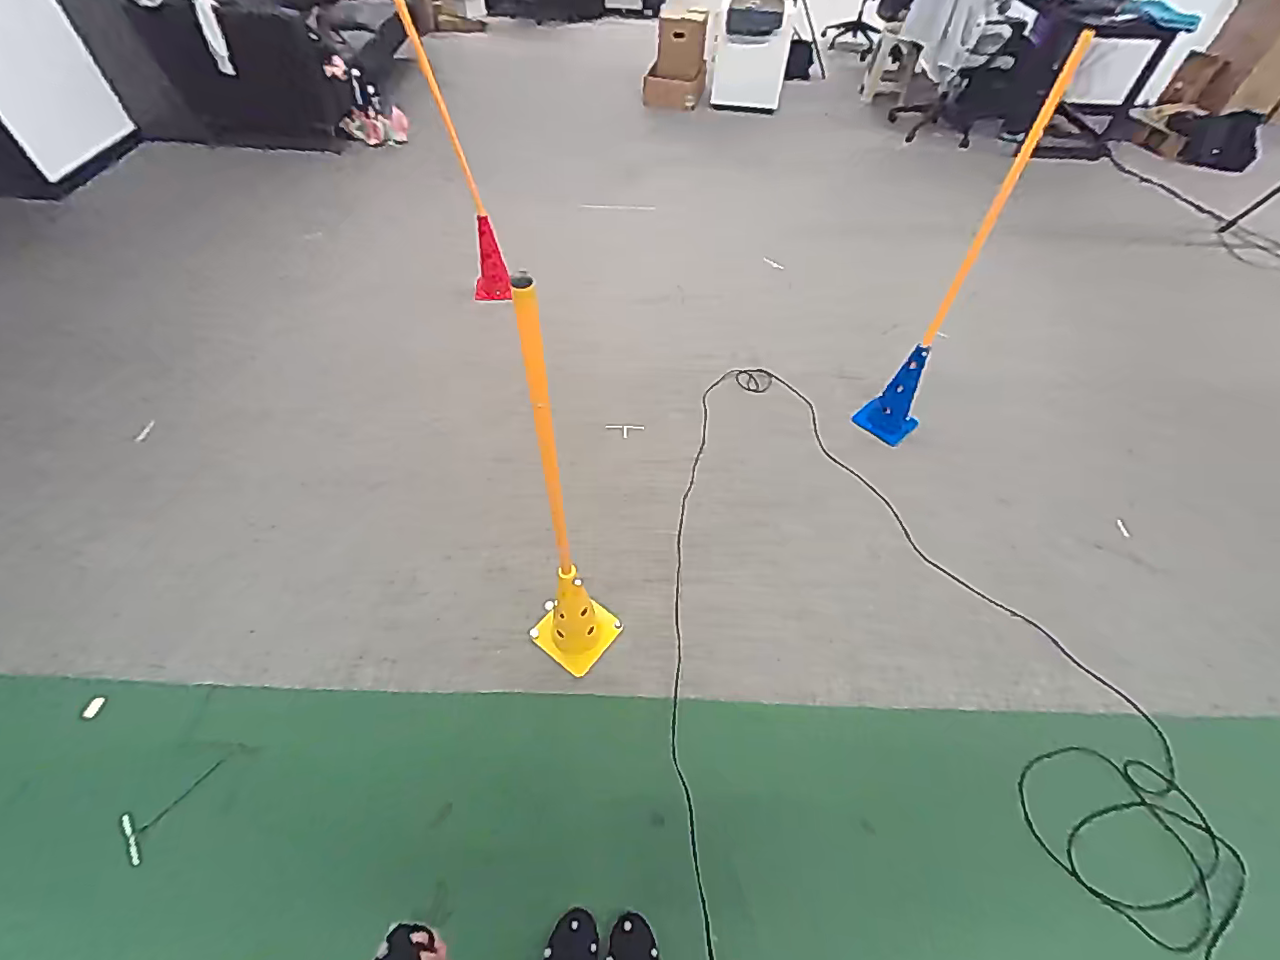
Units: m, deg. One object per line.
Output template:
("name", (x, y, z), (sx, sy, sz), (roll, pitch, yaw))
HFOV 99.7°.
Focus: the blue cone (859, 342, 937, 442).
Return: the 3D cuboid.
("blue cone", (0.970, -0.342, 1.973), (0.193, 0.380, 0.192), (-35, 60, -29))
